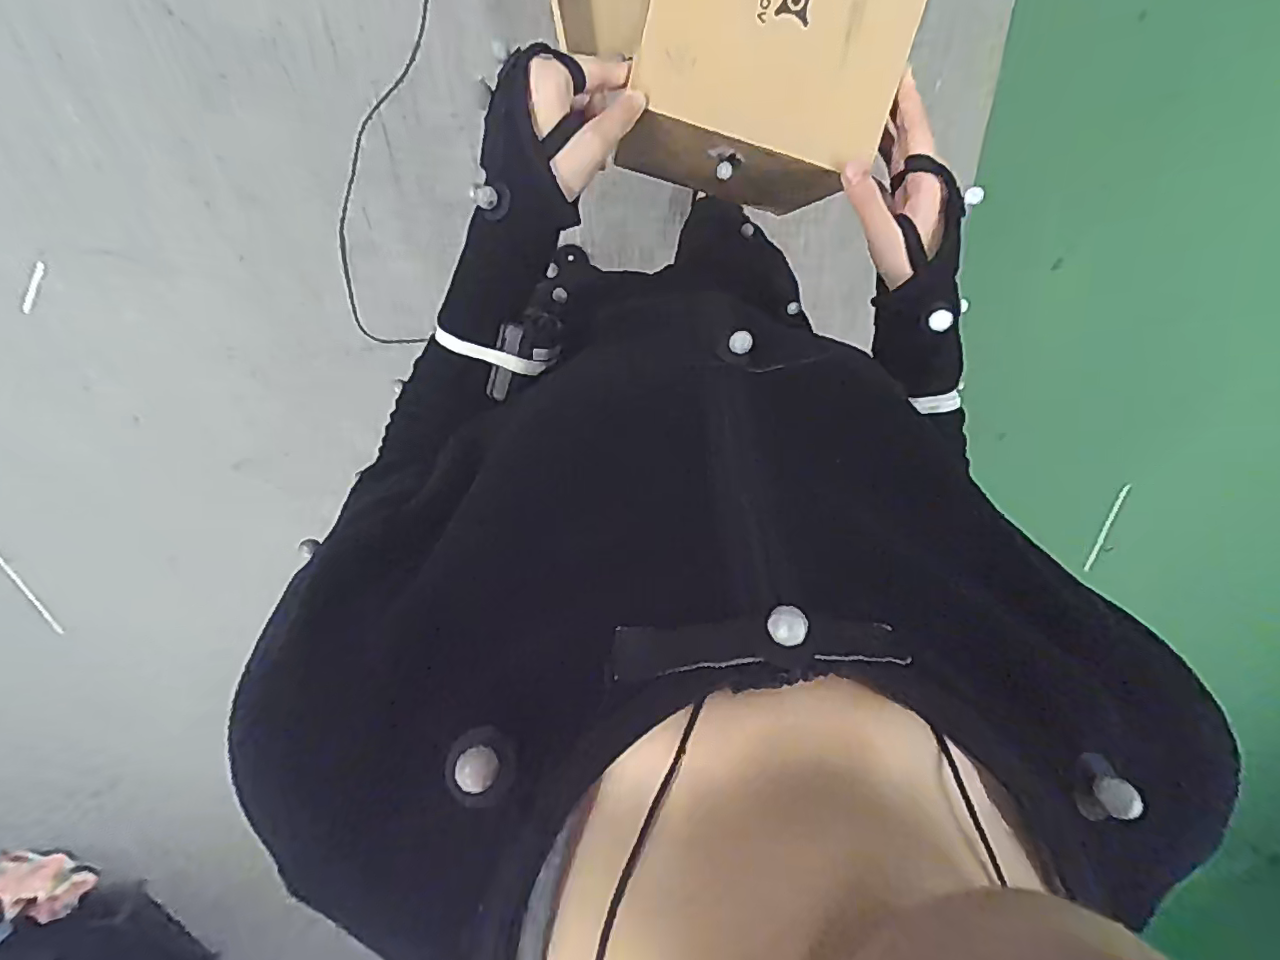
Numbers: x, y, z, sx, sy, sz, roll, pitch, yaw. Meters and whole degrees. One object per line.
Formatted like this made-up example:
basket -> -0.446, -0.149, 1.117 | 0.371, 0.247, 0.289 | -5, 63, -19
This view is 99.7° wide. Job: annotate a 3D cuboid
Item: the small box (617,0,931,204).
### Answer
small box -> 0.086, -0.326, 0.405 | 0.179, 0.176, 0.168 | 12, 106, -11
